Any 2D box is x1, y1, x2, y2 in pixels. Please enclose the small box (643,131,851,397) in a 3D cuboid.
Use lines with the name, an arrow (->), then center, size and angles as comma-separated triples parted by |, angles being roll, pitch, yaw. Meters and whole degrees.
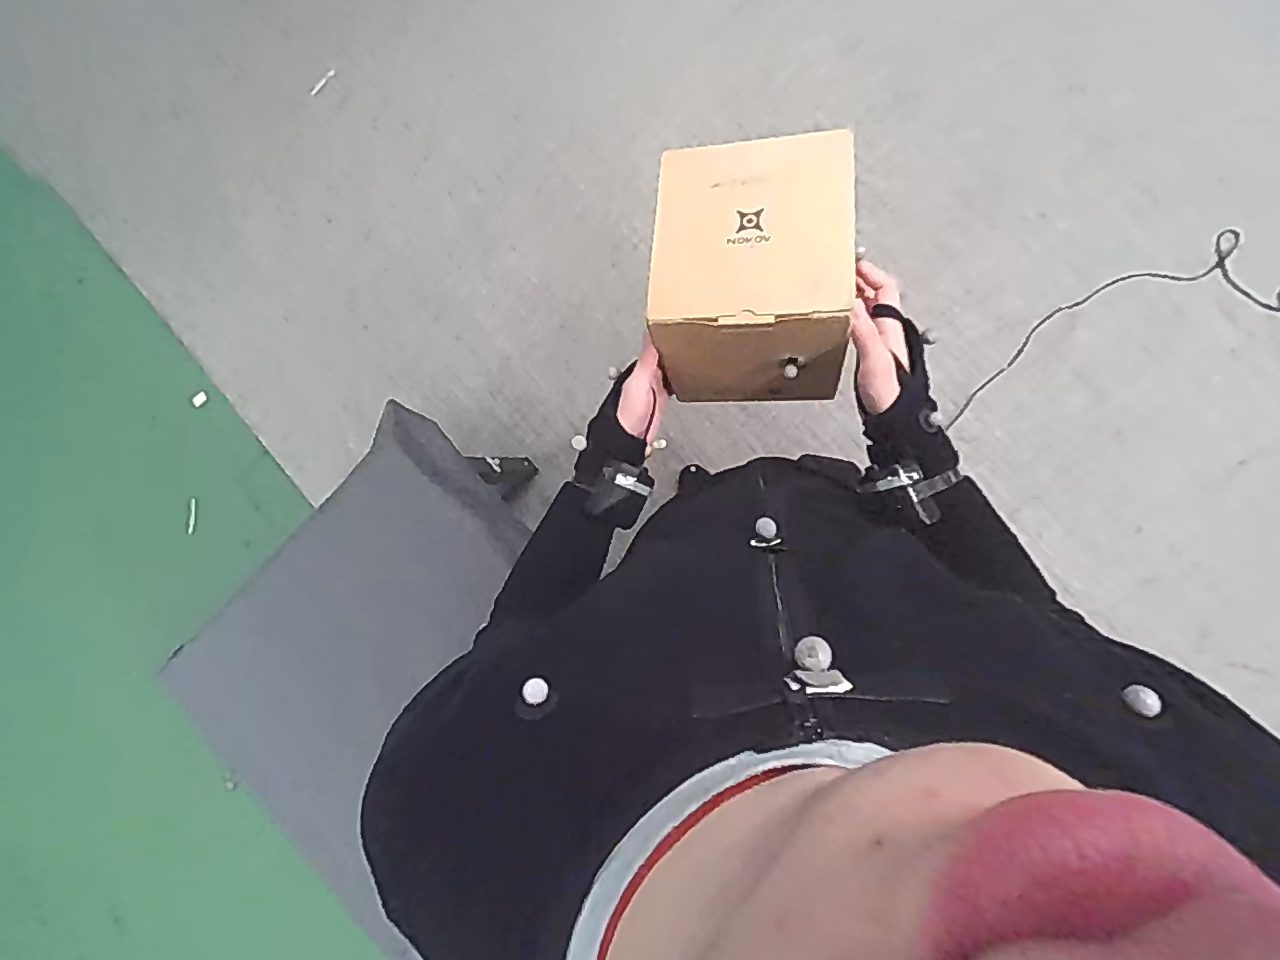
small box -> 0.106, -0.189, 0.523 | 0.168, 0.176, 0.179 | 2, 74, 13
